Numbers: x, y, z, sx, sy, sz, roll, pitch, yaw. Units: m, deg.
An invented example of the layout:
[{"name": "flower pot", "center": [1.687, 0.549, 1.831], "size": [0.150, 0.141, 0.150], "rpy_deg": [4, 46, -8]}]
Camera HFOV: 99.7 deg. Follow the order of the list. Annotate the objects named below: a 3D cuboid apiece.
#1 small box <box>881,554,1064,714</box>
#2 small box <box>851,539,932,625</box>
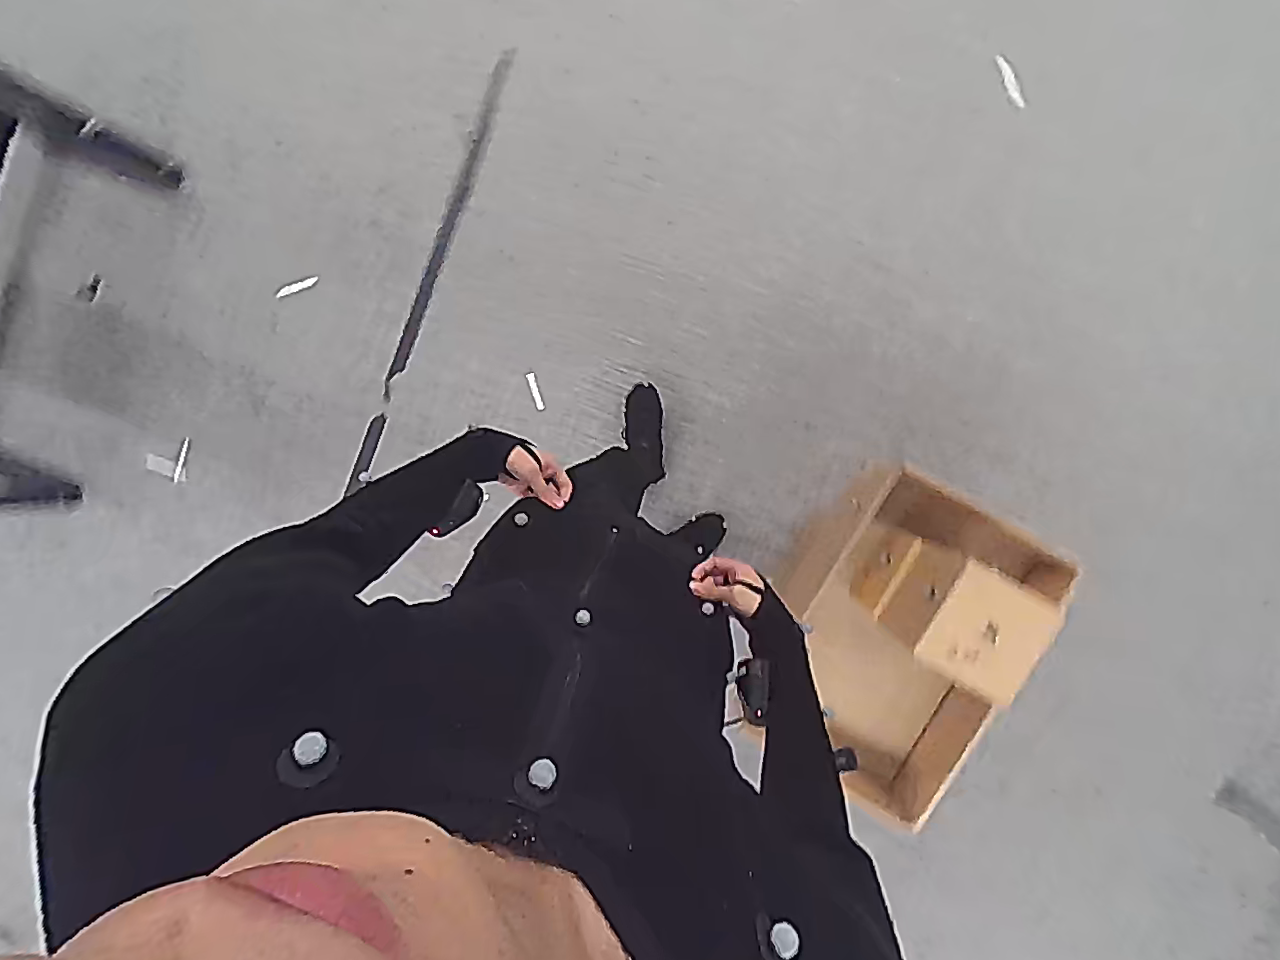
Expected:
[{"name": "small box", "center": [0.539, 0.244, 0.910], "size": [0.168, 0.176, 0.179], "rpy_deg": [31, 95, 4]}, {"name": "small box", "center": [0.551, 0.231, 1.074], "size": [0.179, 0.176, 0.168], "rpy_deg": [30, 95, 4]}]
